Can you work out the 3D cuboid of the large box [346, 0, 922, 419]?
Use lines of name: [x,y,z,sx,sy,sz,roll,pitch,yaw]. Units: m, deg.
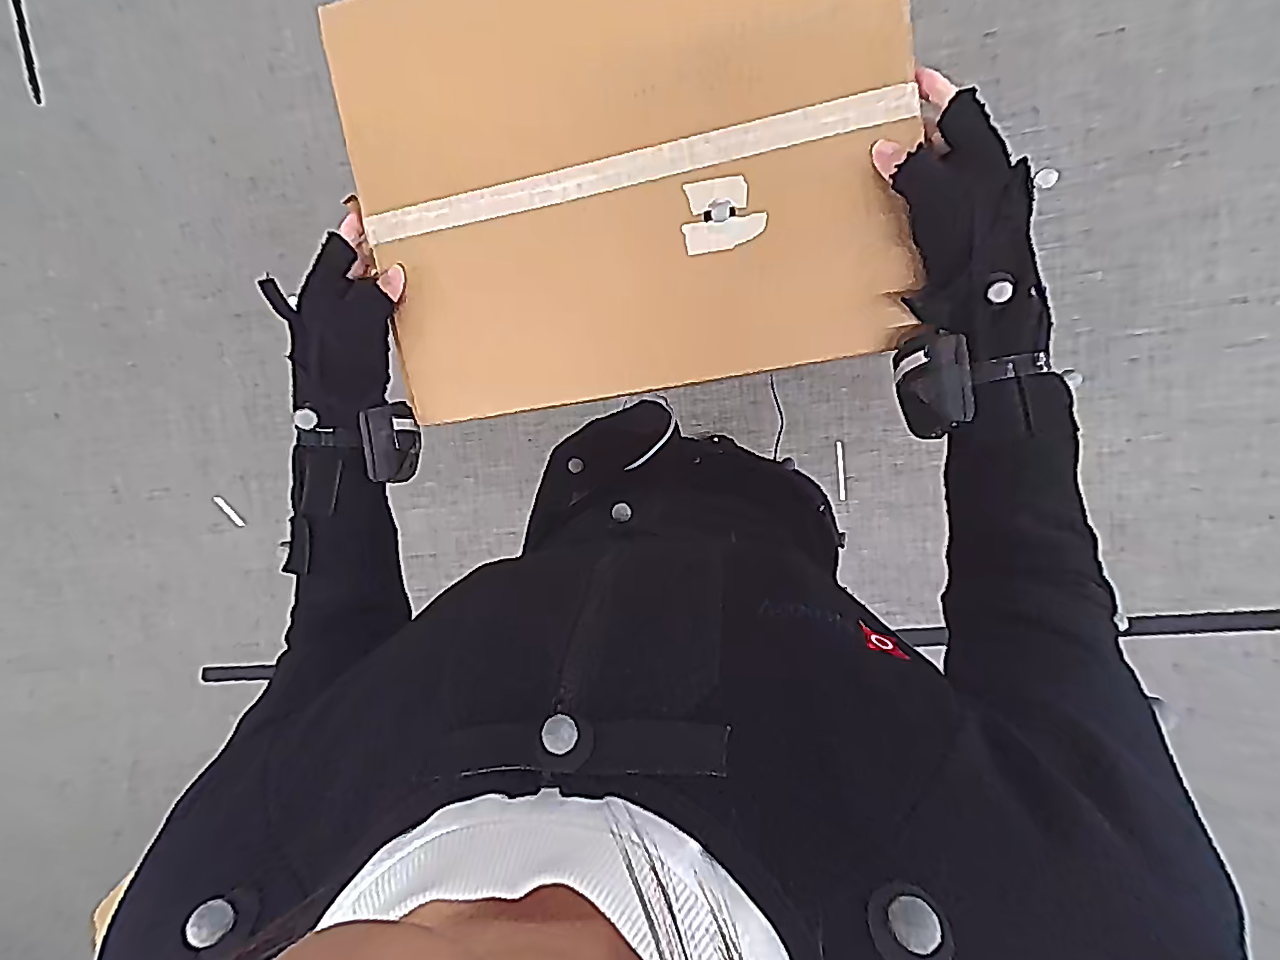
large box: [0.008,-0.256,0.552,0.408,0.320,0.320,-8,100,9]
